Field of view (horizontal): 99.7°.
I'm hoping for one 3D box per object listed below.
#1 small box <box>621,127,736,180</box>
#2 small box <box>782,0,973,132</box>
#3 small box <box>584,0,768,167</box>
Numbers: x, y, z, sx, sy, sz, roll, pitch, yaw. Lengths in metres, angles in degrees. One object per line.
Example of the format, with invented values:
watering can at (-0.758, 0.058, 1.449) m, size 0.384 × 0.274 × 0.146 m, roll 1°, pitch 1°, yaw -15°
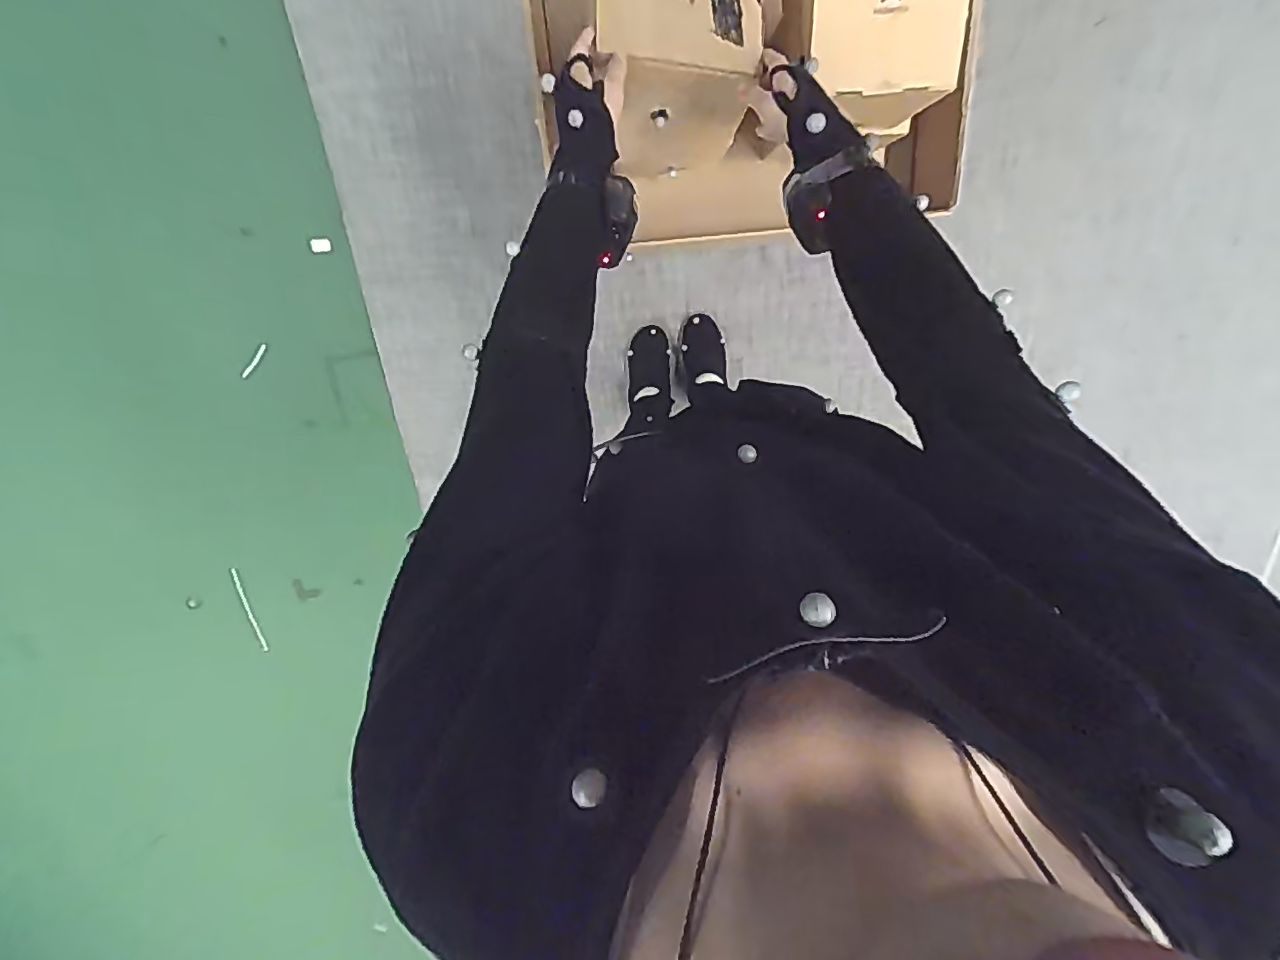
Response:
small box at (0.043, -0.571, 0.807) m, size 0.168 × 0.176 × 0.179 m, roll -8°, pitch 110°, yaw 4°
small box at (0.270, -0.539, 0.643) m, size 0.168 × 0.176 × 0.179 m, roll -2°, pitch 110°, yaw 3°
small box at (0.032, -0.491, 0.618) m, size 0.179 × 0.176 × 0.168 m, roll 2°, pitch 86°, yaw -9°
